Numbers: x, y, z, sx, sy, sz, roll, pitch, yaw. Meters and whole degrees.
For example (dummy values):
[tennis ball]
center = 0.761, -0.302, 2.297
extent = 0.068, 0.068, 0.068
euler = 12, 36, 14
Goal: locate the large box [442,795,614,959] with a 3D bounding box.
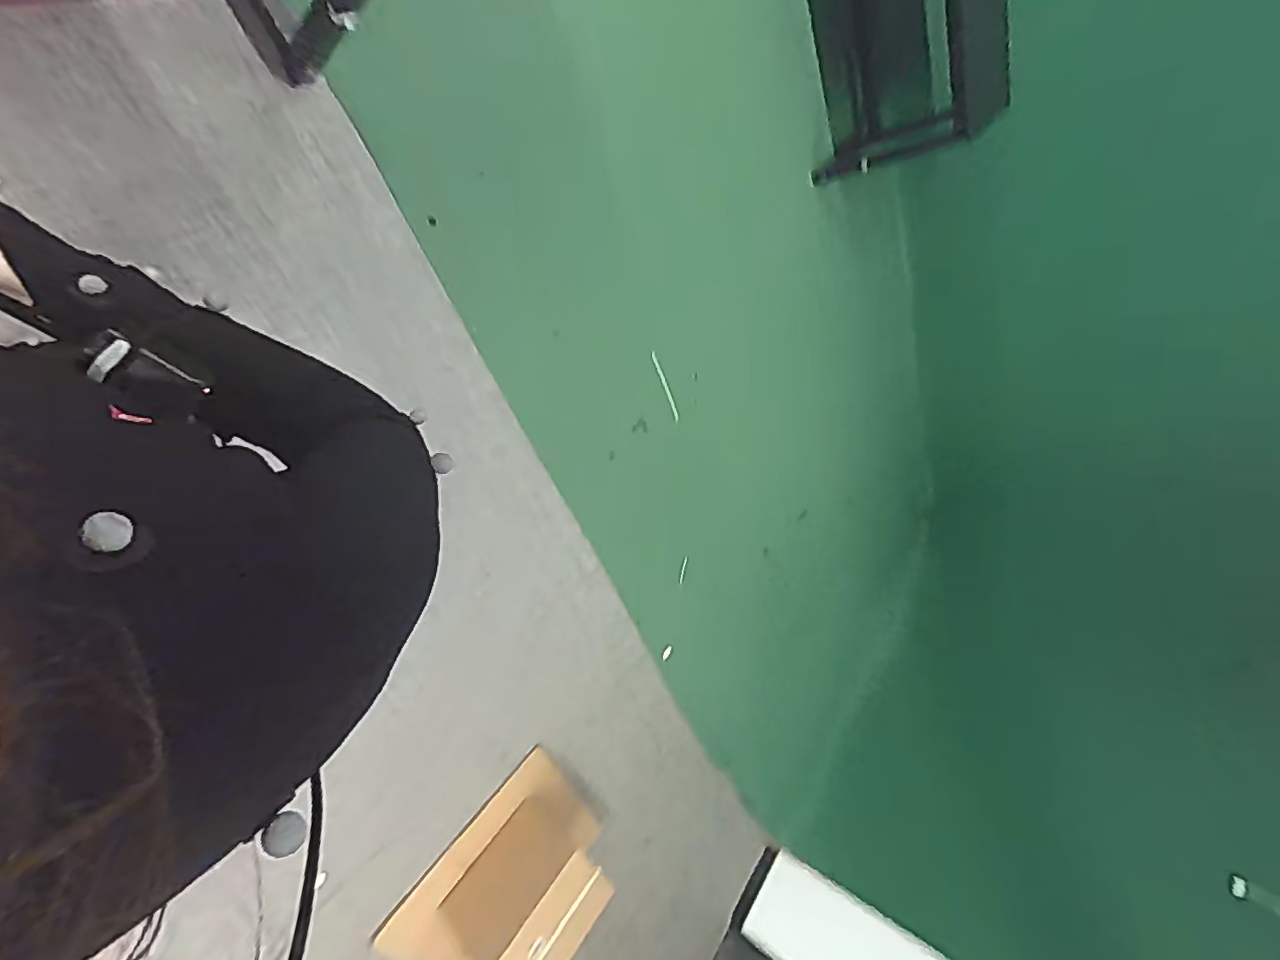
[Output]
[large box]
center = -0.367, 1.379, 1.815
extent = 0.408, 0.320, 0.320
euler = -45, 125, -29
